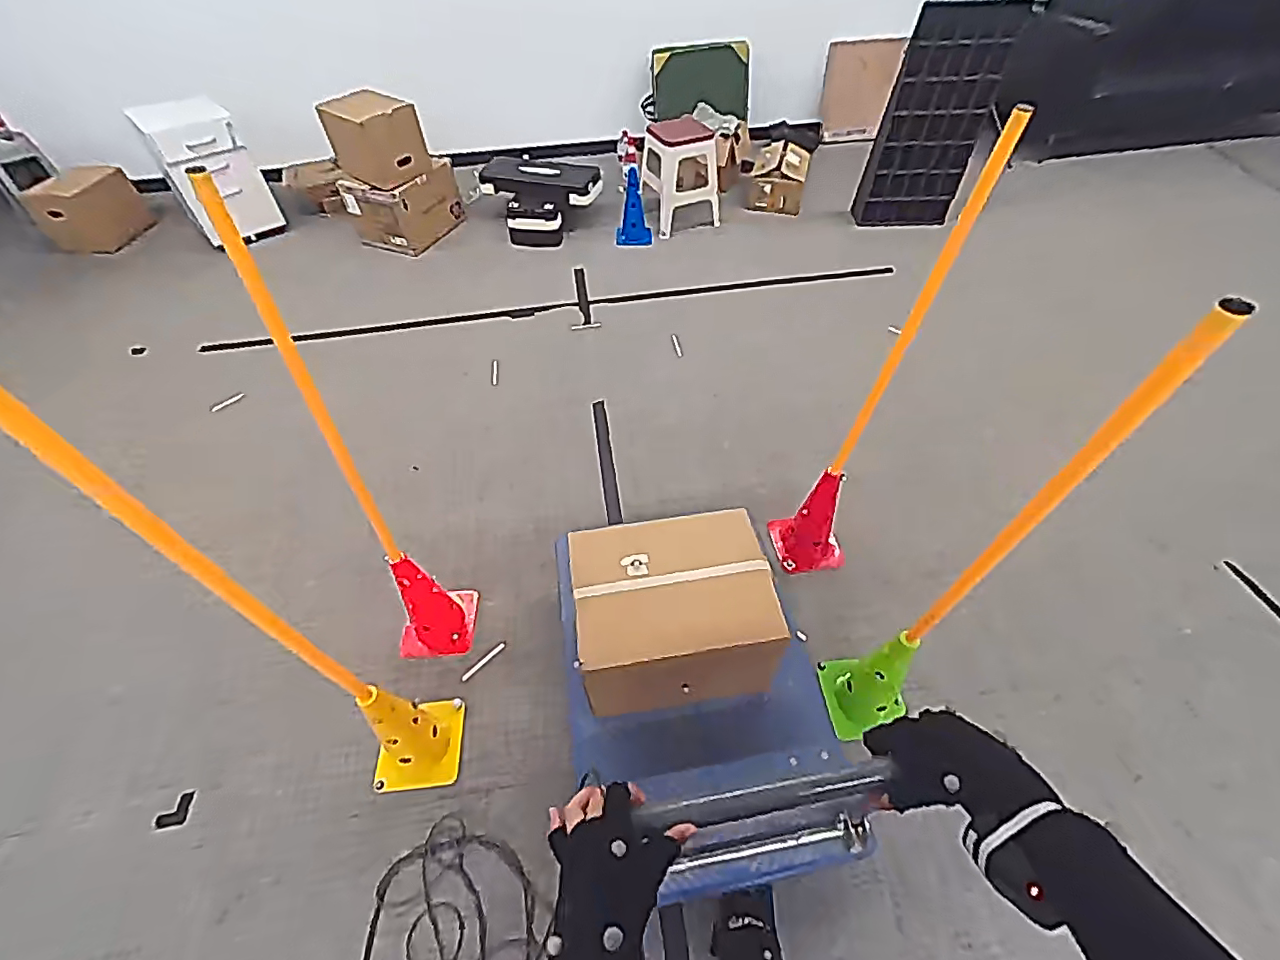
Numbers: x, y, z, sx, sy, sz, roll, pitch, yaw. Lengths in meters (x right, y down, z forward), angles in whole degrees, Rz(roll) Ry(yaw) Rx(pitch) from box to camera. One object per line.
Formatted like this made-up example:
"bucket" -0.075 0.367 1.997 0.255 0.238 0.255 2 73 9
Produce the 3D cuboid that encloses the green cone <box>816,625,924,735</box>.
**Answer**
"green cone" 0.578 0.445 1.281 0.202 0.368 0.200 -4 50 -3

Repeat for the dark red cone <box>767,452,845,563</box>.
"dark red cone" 0.521 0.066 1.579 0.201 0.394 0.202 -7 50 -6

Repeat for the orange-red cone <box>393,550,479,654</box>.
"orange-red cone" -0.581 0.299 1.441 0.198 0.360 0.199 -1 49 -1

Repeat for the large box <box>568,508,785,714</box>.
"large box" 0.067 0.302 1.229 0.408 0.320 0.320 -9 51 -4
